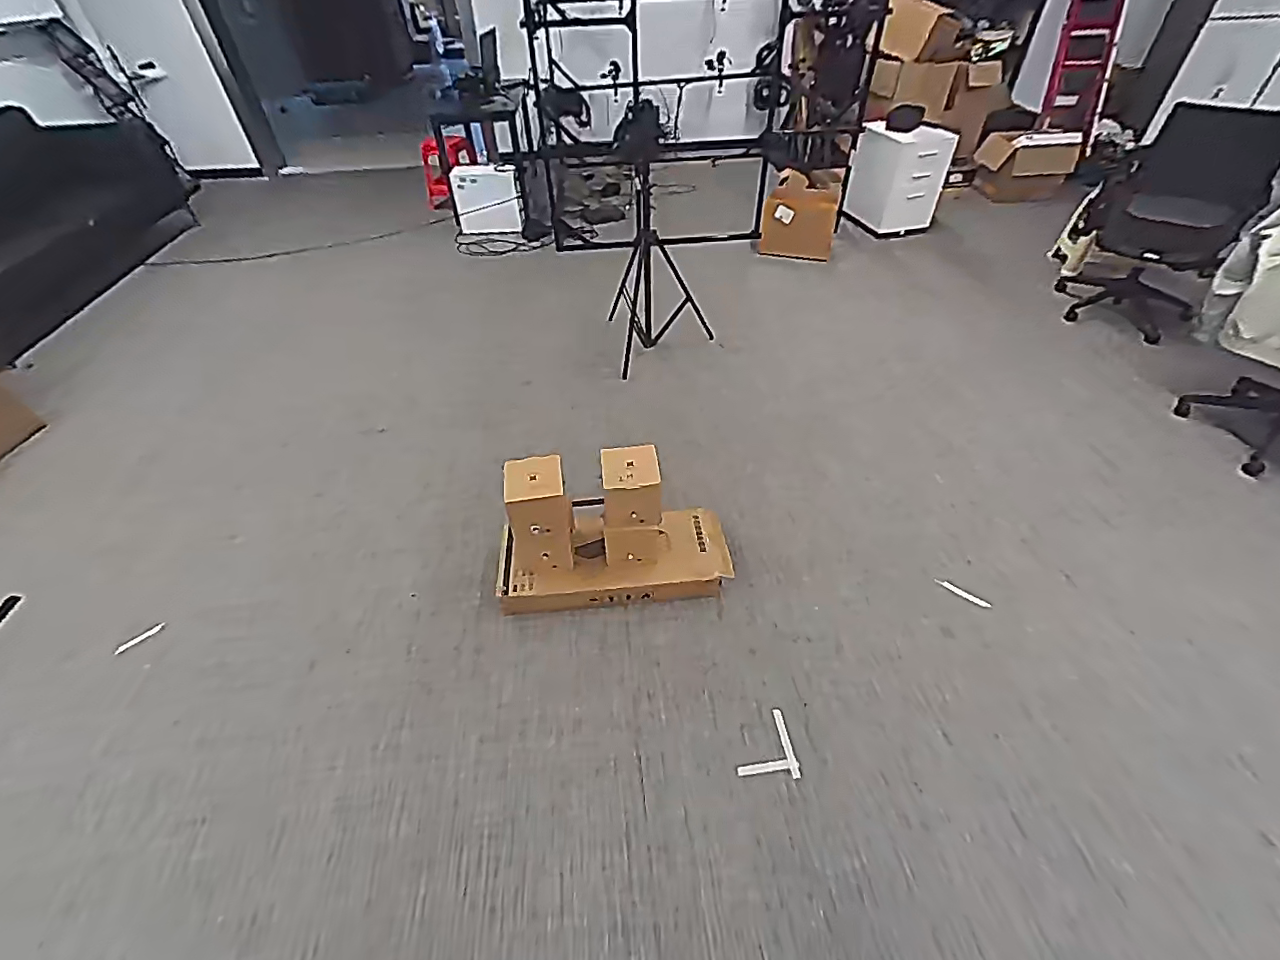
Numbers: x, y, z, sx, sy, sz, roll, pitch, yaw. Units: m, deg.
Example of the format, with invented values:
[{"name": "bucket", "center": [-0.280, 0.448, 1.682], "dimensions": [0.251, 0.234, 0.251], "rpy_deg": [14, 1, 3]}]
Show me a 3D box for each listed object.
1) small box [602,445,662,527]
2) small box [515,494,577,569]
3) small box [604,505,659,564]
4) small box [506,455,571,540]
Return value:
[{"name": "small box", "center": [-0.025, 0.018, 1.627], "dimensions": [0.168, 0.176, 0.179], "rpy_deg": [-6, 44, -3]}, {"name": "small box", "center": [-0.293, 0.169, 1.718], "dimensions": [0.168, 0.176, 0.179], "rpy_deg": [-4, 45, -2]}, {"name": "small box", "center": [-0.025, 0.148, 1.732], "dimensions": [0.168, 0.176, 0.179], "rpy_deg": [-3, 44, 1]}, {"name": "small box", "center": [-0.300, 0.053, 1.604], "dimensions": [0.168, 0.176, 0.179], "rpy_deg": [-9, 45, -7]}]
